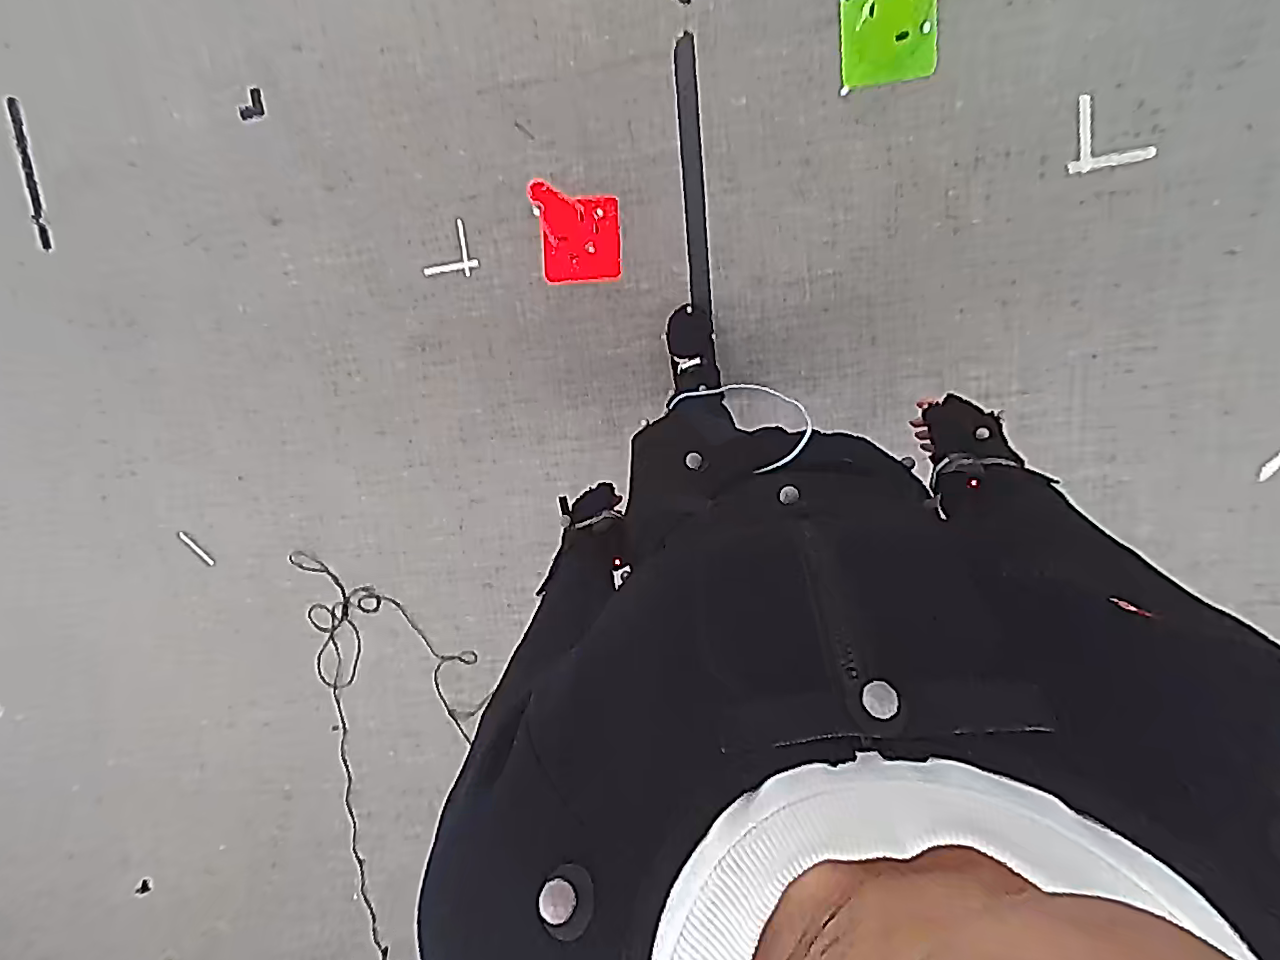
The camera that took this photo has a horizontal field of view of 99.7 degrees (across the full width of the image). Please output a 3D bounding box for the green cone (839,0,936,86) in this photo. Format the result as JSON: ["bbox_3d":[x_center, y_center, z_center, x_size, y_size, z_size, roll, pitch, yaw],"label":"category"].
[{"bbox_3d":[0.526,-0.957,1.021,0.202,0.368,0.200,-4,99,7],"label":"green cone"}]

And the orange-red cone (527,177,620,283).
[{"bbox_3d":[-0.173,-0.572,1.184,0.199,0.360,0.198,0,98,9],"label":"orange-red cone"}]
